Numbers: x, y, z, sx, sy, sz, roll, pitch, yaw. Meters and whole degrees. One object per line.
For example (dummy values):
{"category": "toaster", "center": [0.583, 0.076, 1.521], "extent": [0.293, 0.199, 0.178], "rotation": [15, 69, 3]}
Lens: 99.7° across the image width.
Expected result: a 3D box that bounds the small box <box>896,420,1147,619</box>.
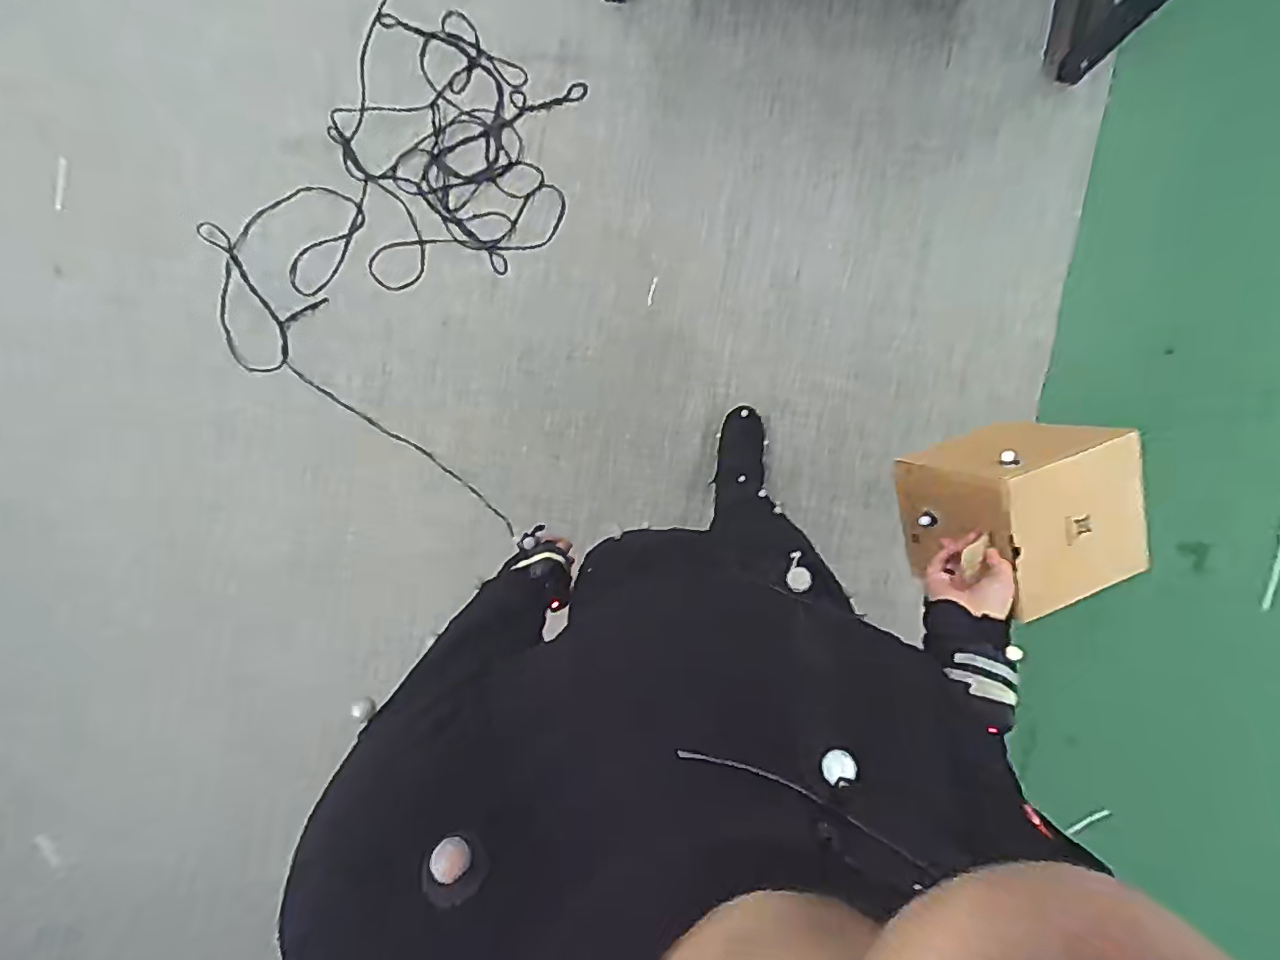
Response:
{"category": "small box", "center": [0.444, 0.032, 0.645], "extent": [0.179, 0.176, 0.168], "rotation": [-19, 103, -11]}
